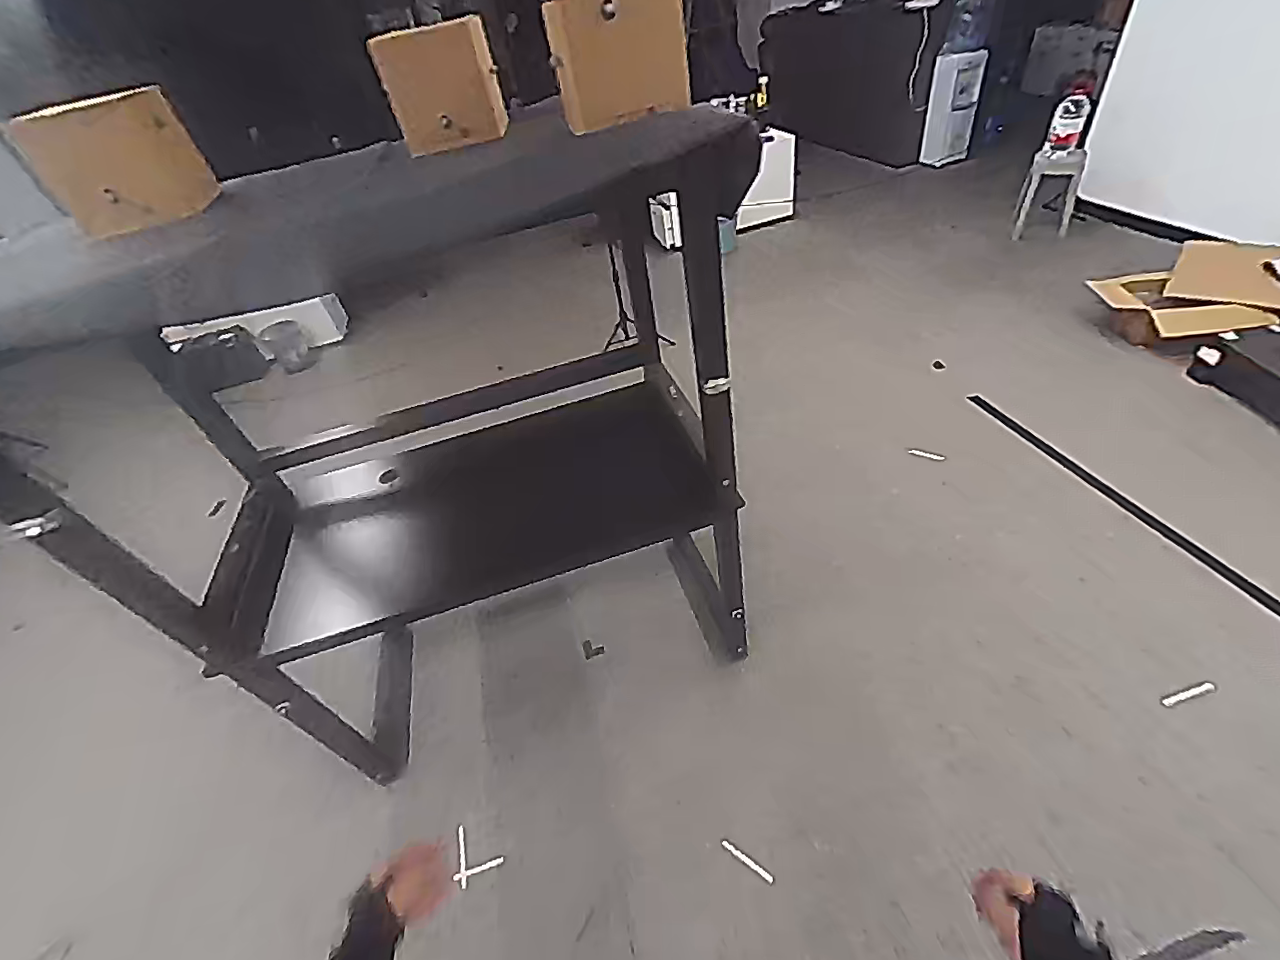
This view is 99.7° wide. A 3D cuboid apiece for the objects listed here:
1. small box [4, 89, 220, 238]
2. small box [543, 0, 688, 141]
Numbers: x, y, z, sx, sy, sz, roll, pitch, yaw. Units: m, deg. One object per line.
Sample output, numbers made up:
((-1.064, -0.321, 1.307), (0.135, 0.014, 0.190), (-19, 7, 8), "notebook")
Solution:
((-0.847, -0.523, 0.896), (0.168, 0.176, 0.179), (-19, 44, -7), "small box")
((-0.036, -0.622, 0.804), (0.168, 0.176, 0.179), (-17, 41, -4), "small box")
